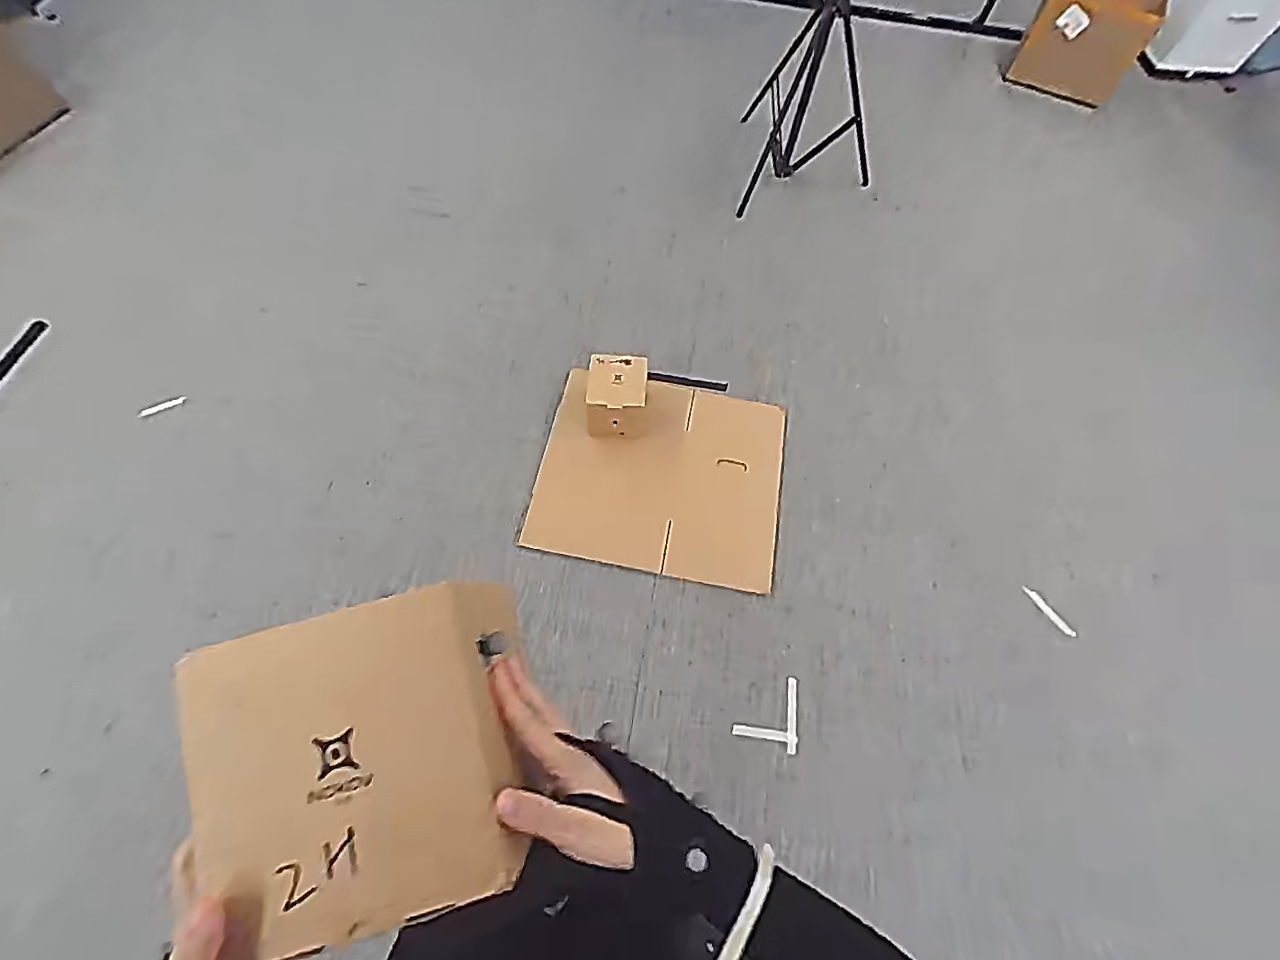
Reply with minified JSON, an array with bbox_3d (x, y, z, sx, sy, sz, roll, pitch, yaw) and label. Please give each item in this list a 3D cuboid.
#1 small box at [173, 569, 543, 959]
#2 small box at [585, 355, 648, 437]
[{"bbox_3d":[-0.176,0.175,0.385,0.168,0.176,0.179,-16,78,-5],"label":"small box"},{"bbox_3d":[-0.067,-0.241,1.587,0.168,0.176,0.179,4,65,-1],"label":"small box"}]
